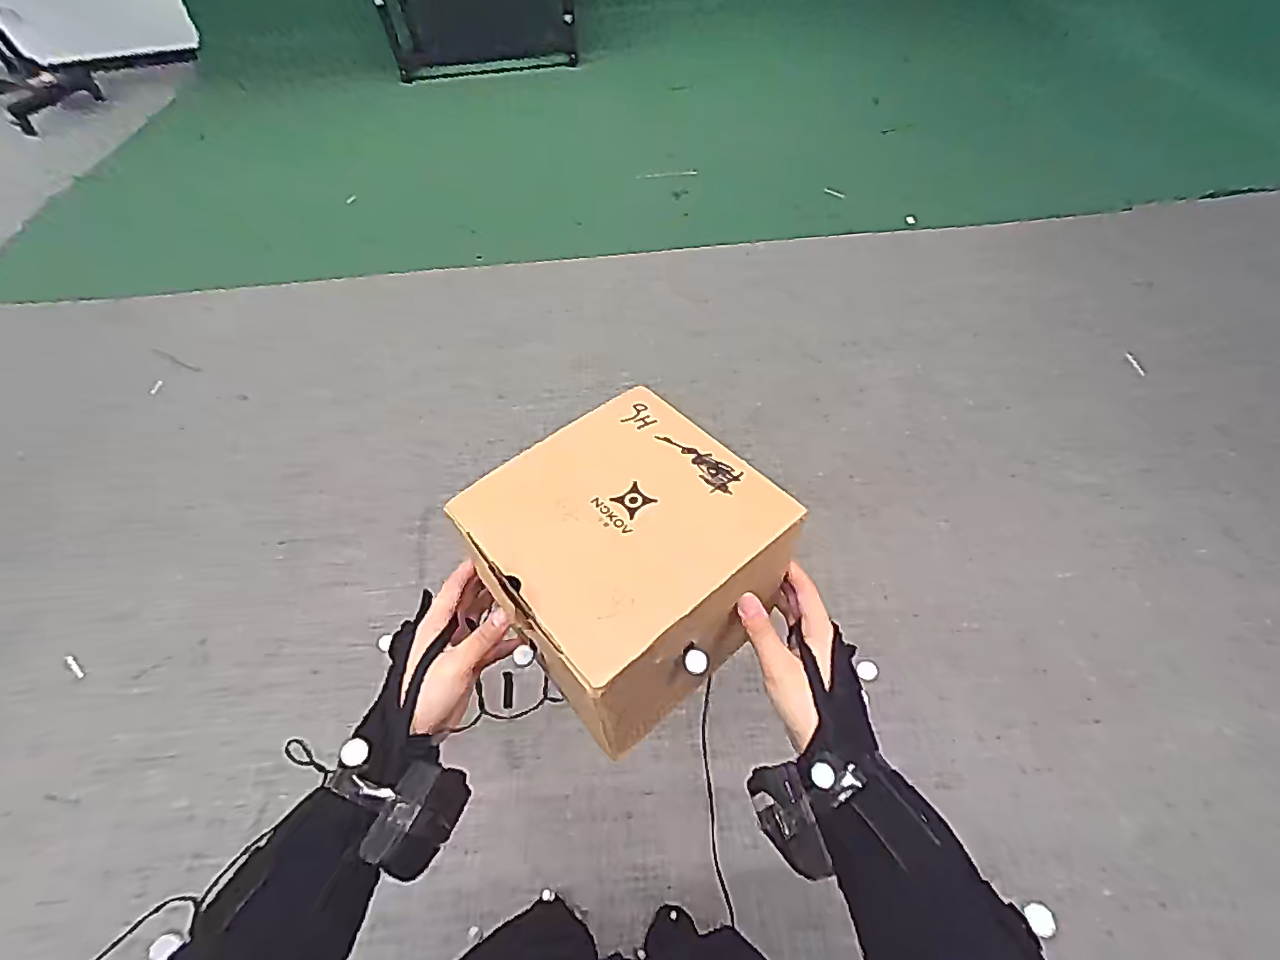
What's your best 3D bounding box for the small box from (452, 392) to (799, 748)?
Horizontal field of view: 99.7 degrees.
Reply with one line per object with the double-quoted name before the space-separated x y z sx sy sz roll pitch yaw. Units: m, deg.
"small box" -0.008 0.071 0.418 0.179 0.176 0.168 -35 58 -23
